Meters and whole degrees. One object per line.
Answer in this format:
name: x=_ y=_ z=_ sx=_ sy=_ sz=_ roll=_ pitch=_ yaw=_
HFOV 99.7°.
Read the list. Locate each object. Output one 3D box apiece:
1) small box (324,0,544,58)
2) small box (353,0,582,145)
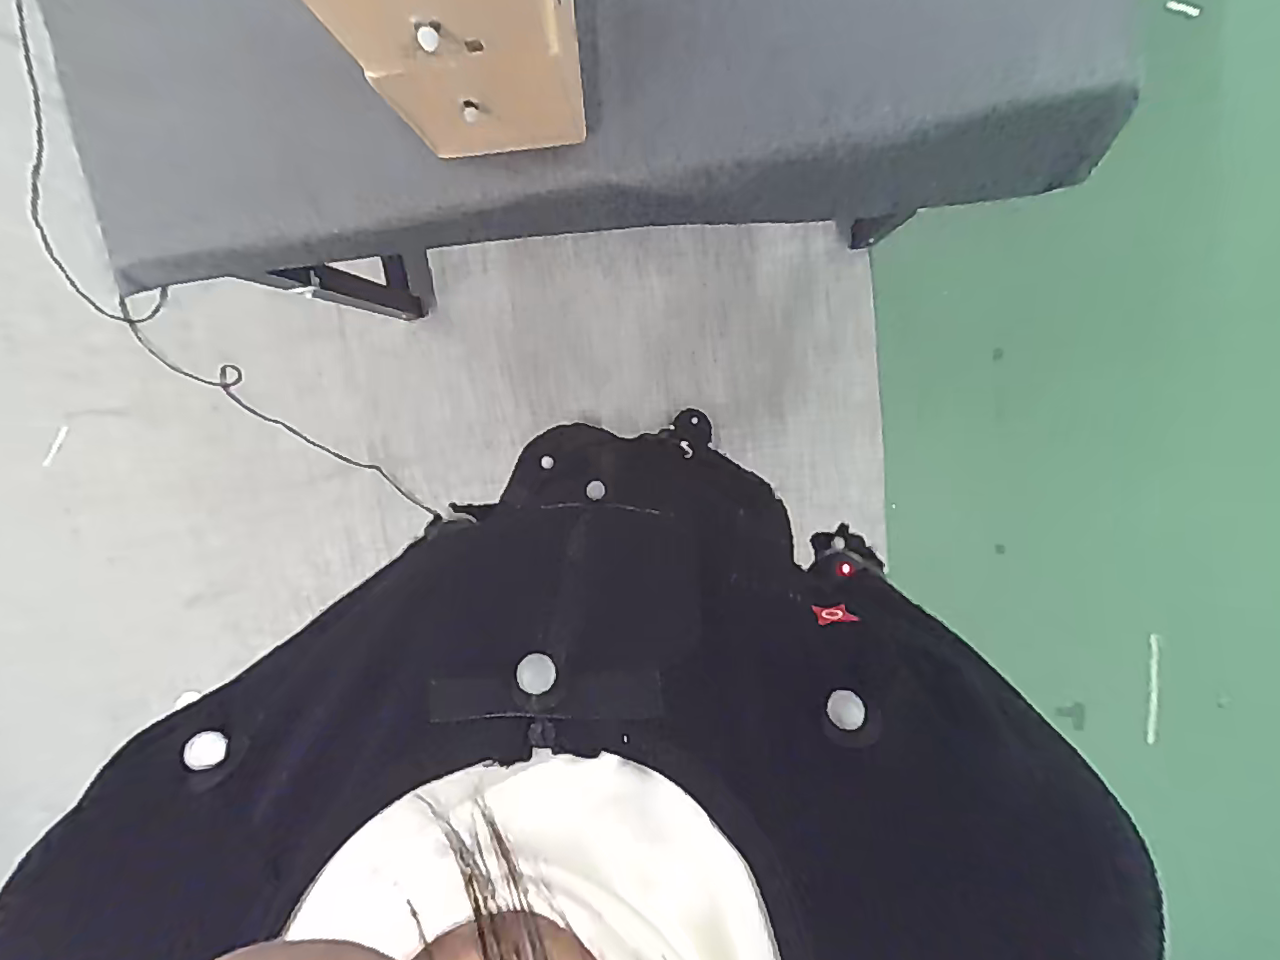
small box: x=-0.167 y=-0.440 z=0.372 sx=0.168 sy=0.176 sz=0.179 roll=-3 pitch=99 yaw=3
small box: x=-0.162 y=-0.459 z=0.535 sx=0.179 sy=0.176 sz=0.168 roll=-4 pitch=99 yaw=3
